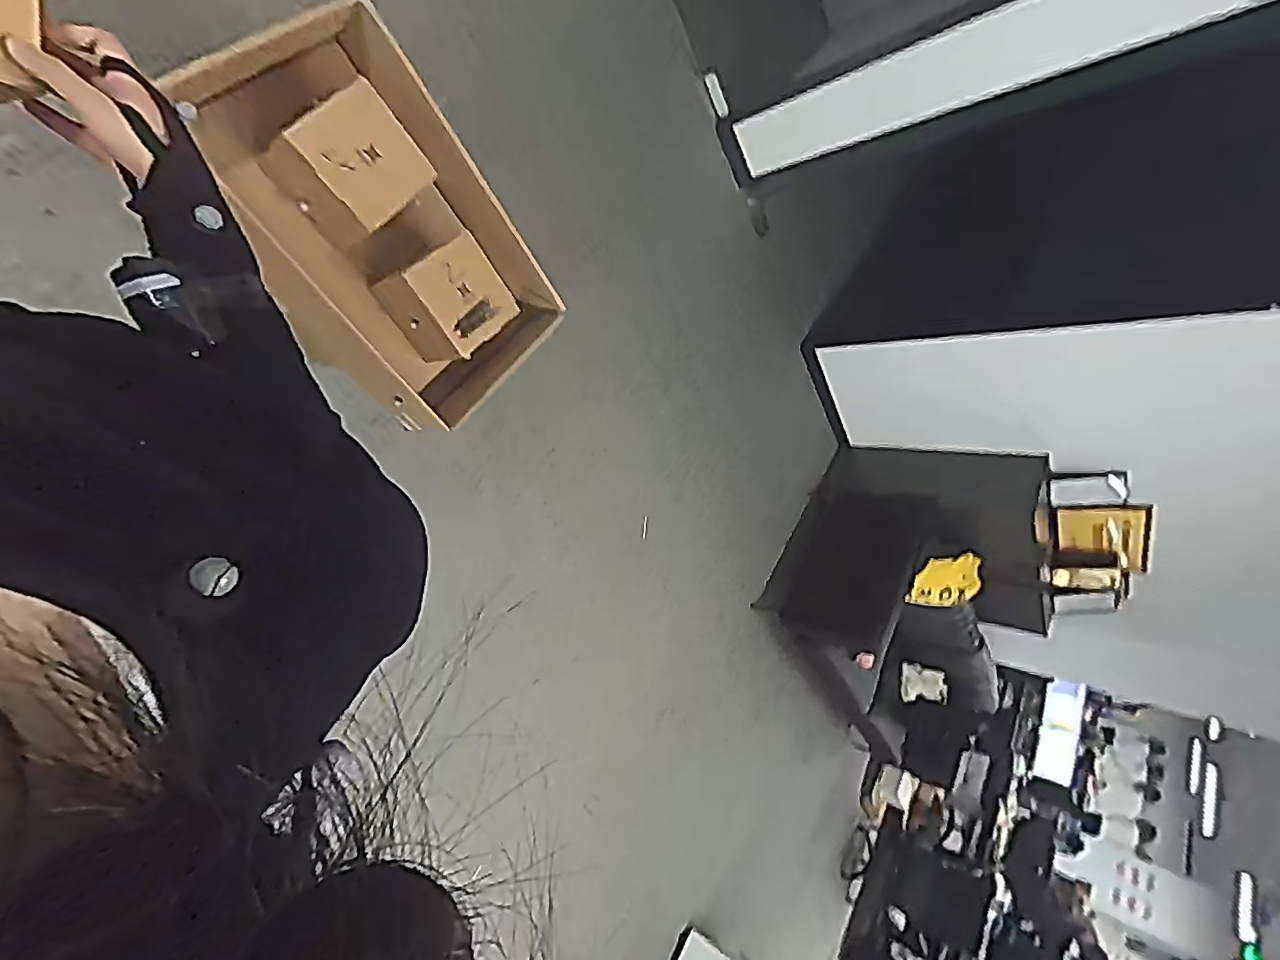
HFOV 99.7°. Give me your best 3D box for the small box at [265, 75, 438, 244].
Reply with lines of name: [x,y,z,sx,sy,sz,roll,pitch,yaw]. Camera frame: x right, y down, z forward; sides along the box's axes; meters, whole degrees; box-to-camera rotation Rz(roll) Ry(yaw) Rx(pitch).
small box: [-0.491,-0.531,0.916,0.179,0.176,0.168,-57,131,-23]
